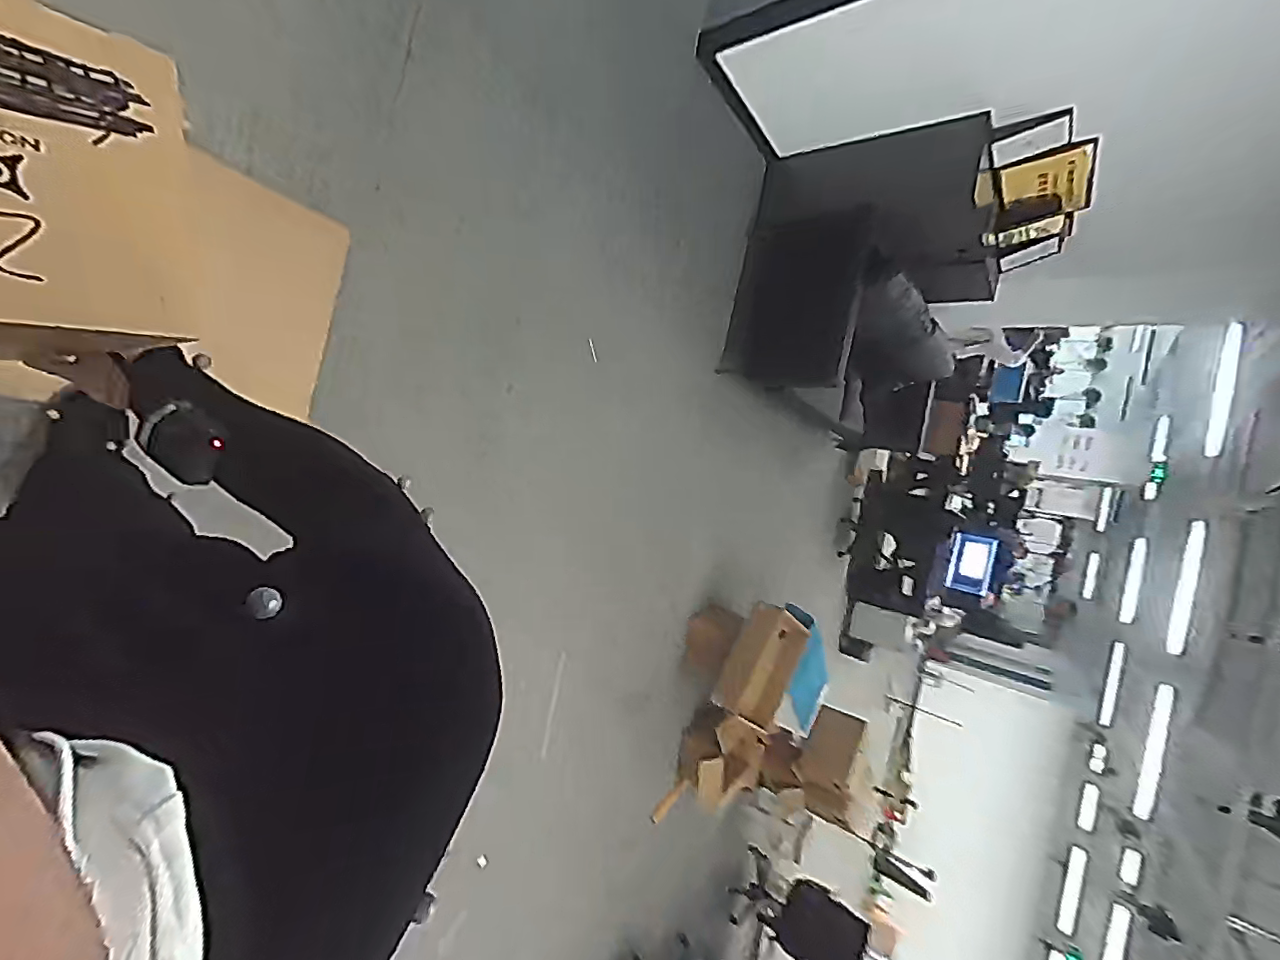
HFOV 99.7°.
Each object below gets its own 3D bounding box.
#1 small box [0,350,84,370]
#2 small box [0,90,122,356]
[{"bbox_3d":[-0.666,-0.204,0.512,0.168,0.176,0.179,-6,99,-55],"label":"small box"},{"bbox_3d":[-0.532,-0.195,0.416,0.168,0.176,0.179,-5,98,-56],"label":"small box"}]
